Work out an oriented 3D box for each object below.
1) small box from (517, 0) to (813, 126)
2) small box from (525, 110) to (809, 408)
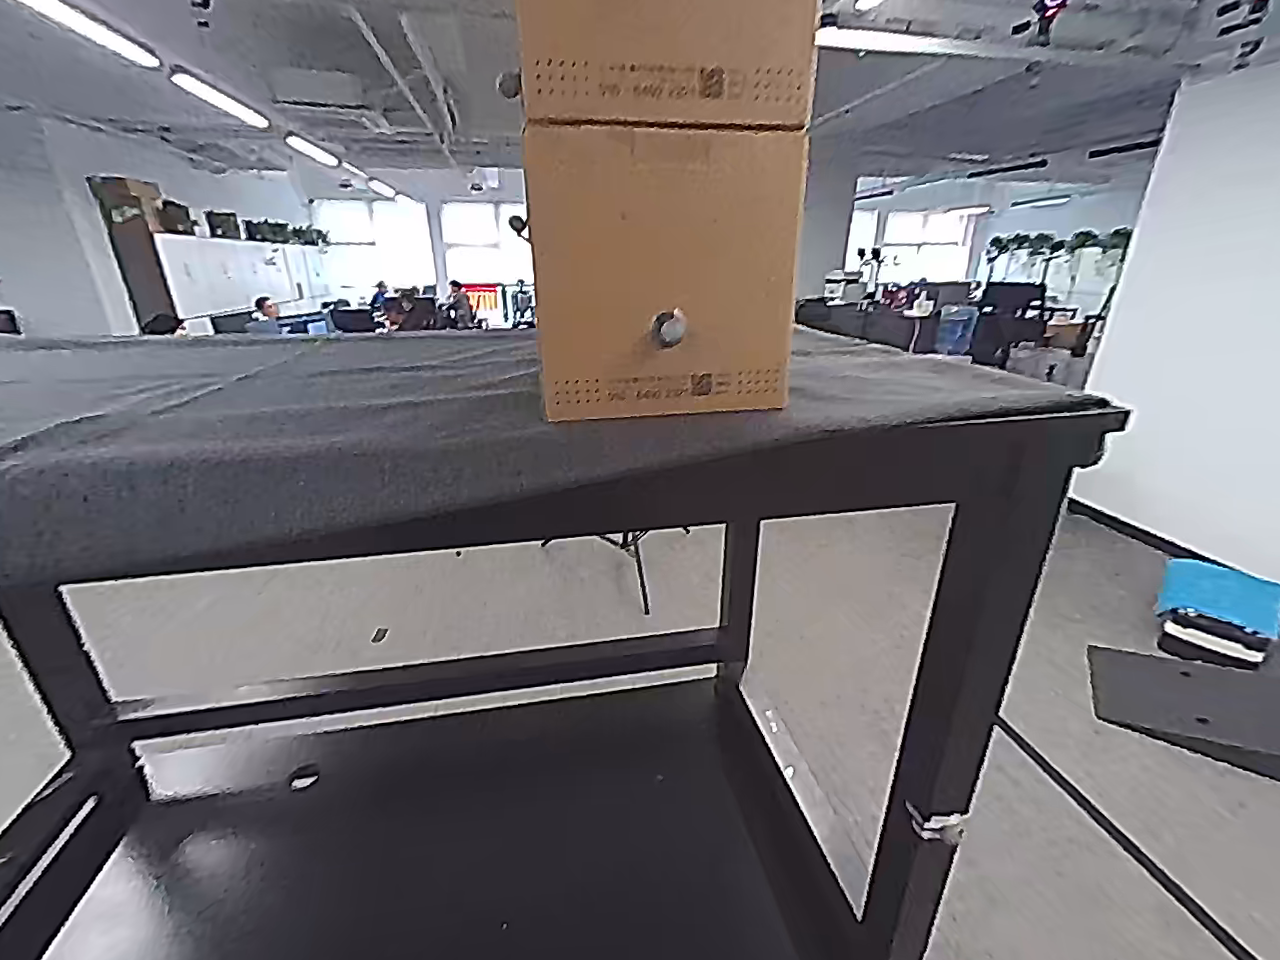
[{"bbox_3d":[0.006,-0.307,0.349,0.168,0.176,0.179,-4,22,-8],"label":"small box"},{"bbox_3d":[0.006,-0.154,0.406,0.168,0.176,0.179,-5,21,-8],"label":"small box"}]
